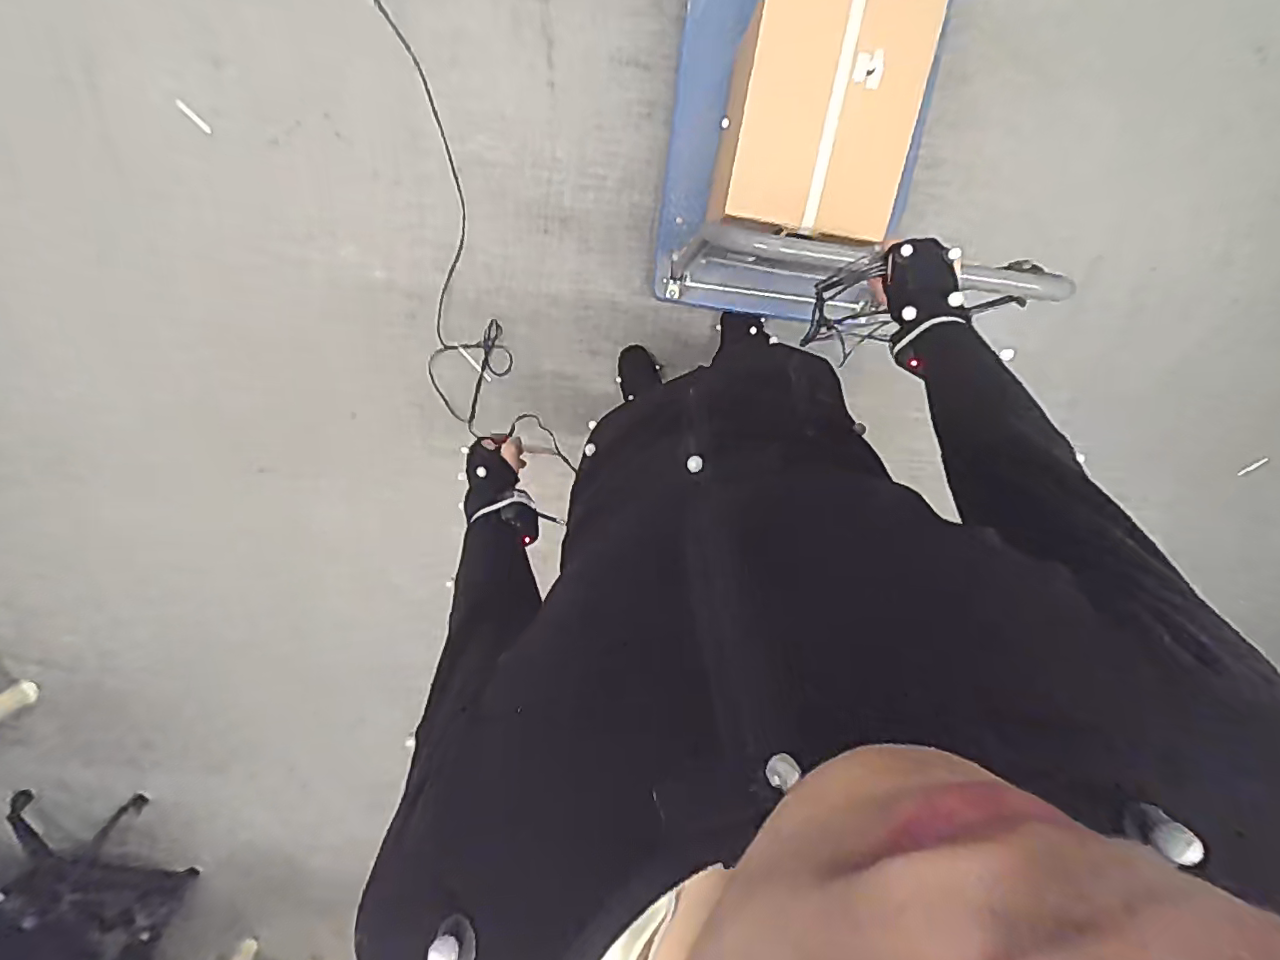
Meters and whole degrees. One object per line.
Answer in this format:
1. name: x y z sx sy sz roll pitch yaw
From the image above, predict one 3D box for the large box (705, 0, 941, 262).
1. large box: 0.332 -0.694 1.103 0.320 0.320 0.408 9 105 -4
